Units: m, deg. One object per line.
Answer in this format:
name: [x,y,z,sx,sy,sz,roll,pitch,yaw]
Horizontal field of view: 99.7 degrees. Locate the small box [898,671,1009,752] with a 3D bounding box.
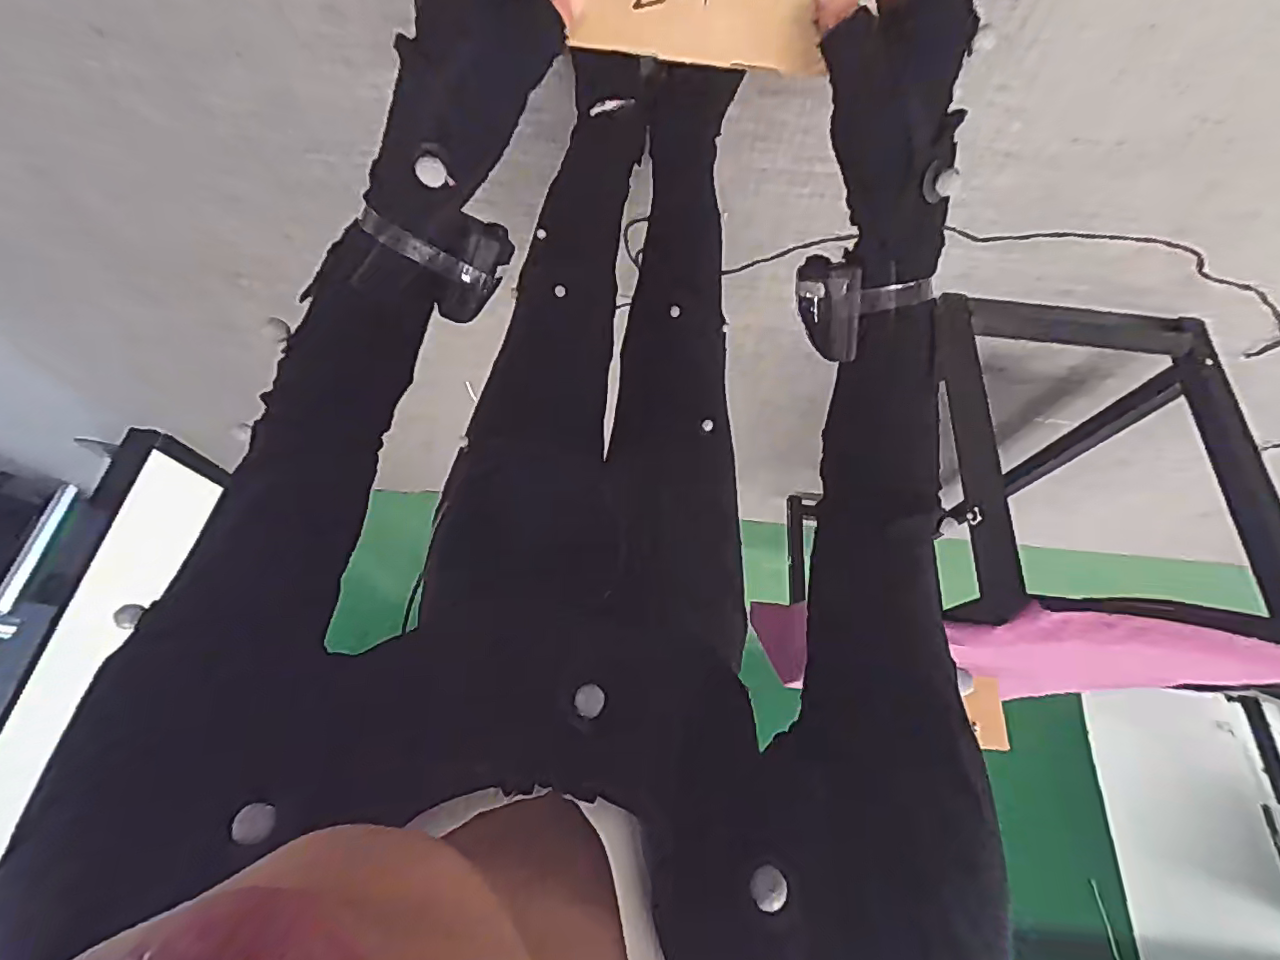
small box: [0.785,0.585,1.372,0.179,0.176,0.168,8,154,-3]

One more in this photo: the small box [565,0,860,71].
small box: [0.049,-0.362,0.273,0.168,0.176,0.179,6,161,-2]
